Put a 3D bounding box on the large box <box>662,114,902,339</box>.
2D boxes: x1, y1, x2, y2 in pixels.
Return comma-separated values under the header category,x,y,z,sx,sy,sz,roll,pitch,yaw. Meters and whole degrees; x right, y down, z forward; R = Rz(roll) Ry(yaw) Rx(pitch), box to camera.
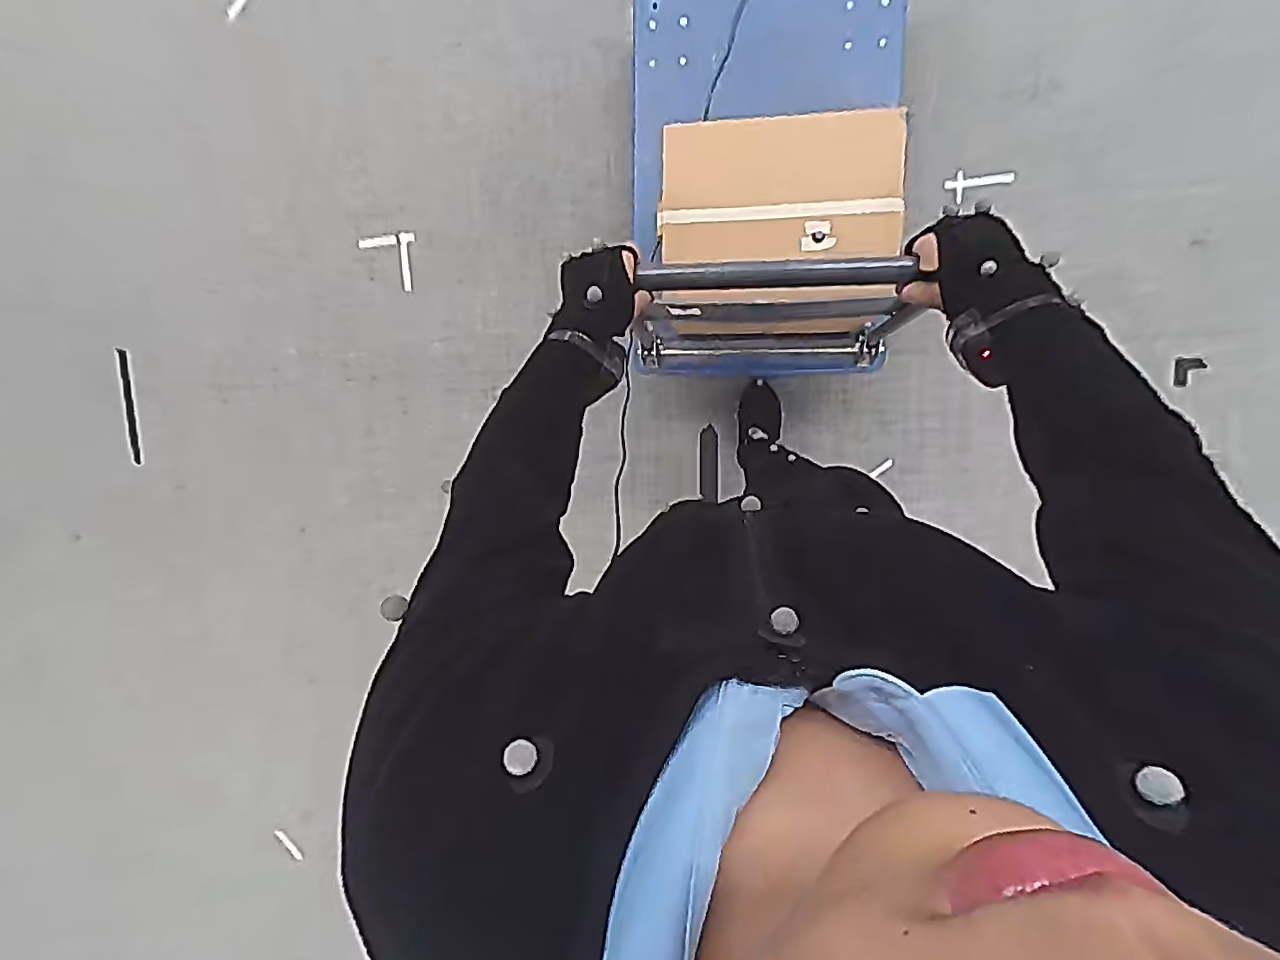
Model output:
category,x,y,z,sx,sy,sz,roll,pitch,yaw
large box,0.255,-0.468,1.079,0.408,0.320,0.320,1,96,8
